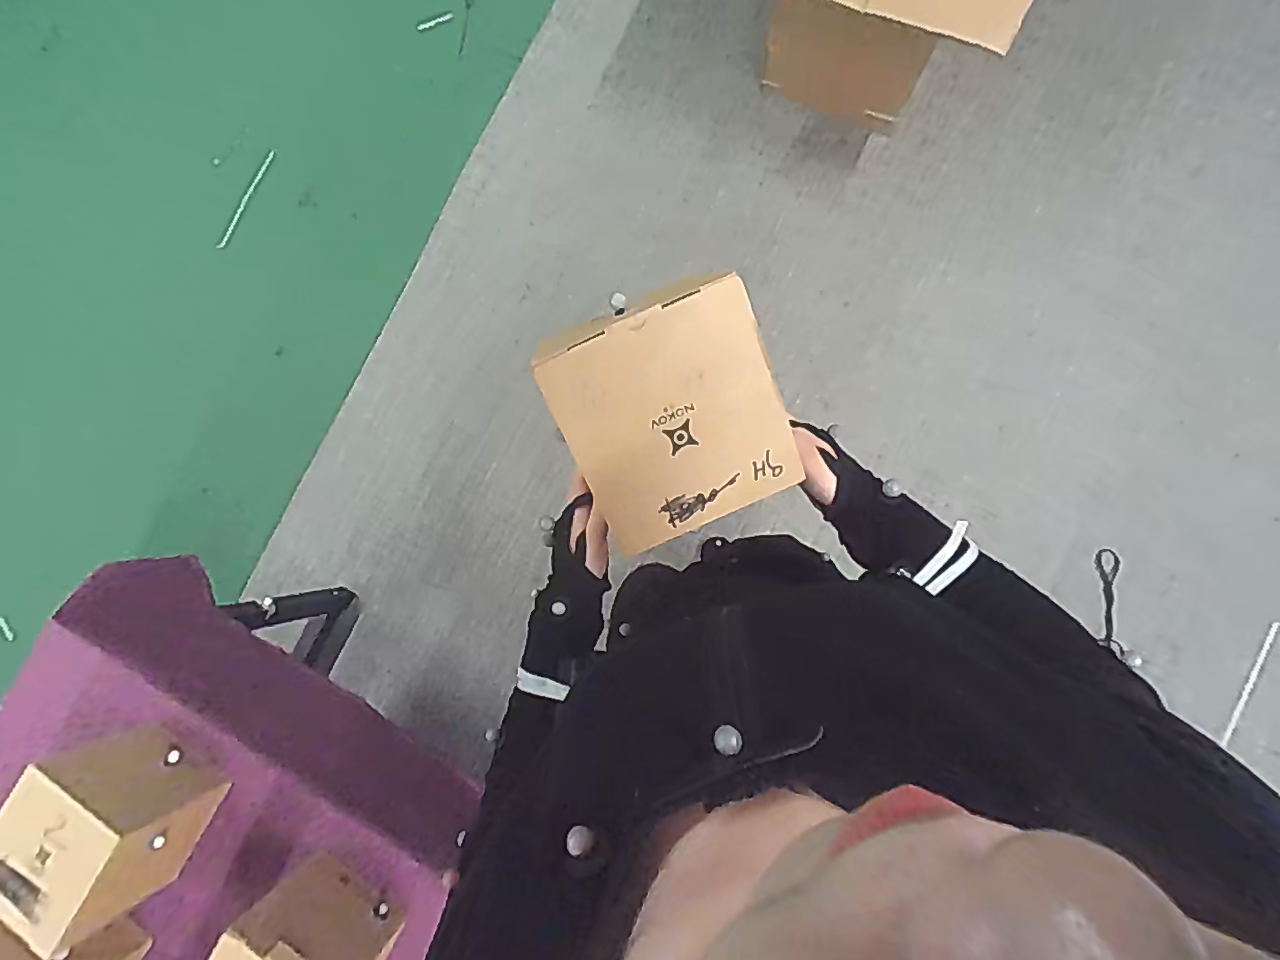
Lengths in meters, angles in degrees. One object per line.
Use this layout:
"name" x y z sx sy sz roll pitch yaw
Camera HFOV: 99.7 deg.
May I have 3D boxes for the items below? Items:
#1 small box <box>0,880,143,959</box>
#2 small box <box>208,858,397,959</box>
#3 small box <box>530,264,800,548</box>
"small box" -0.860 0.721 0.752 0.168 0.176 0.179 30 89 9
"small box" -0.455 0.654 0.707 0.168 0.176 0.179 29 89 9
"small box" 0.016 -0.073 0.489 0.168 0.176 0.179 -23 109 2
